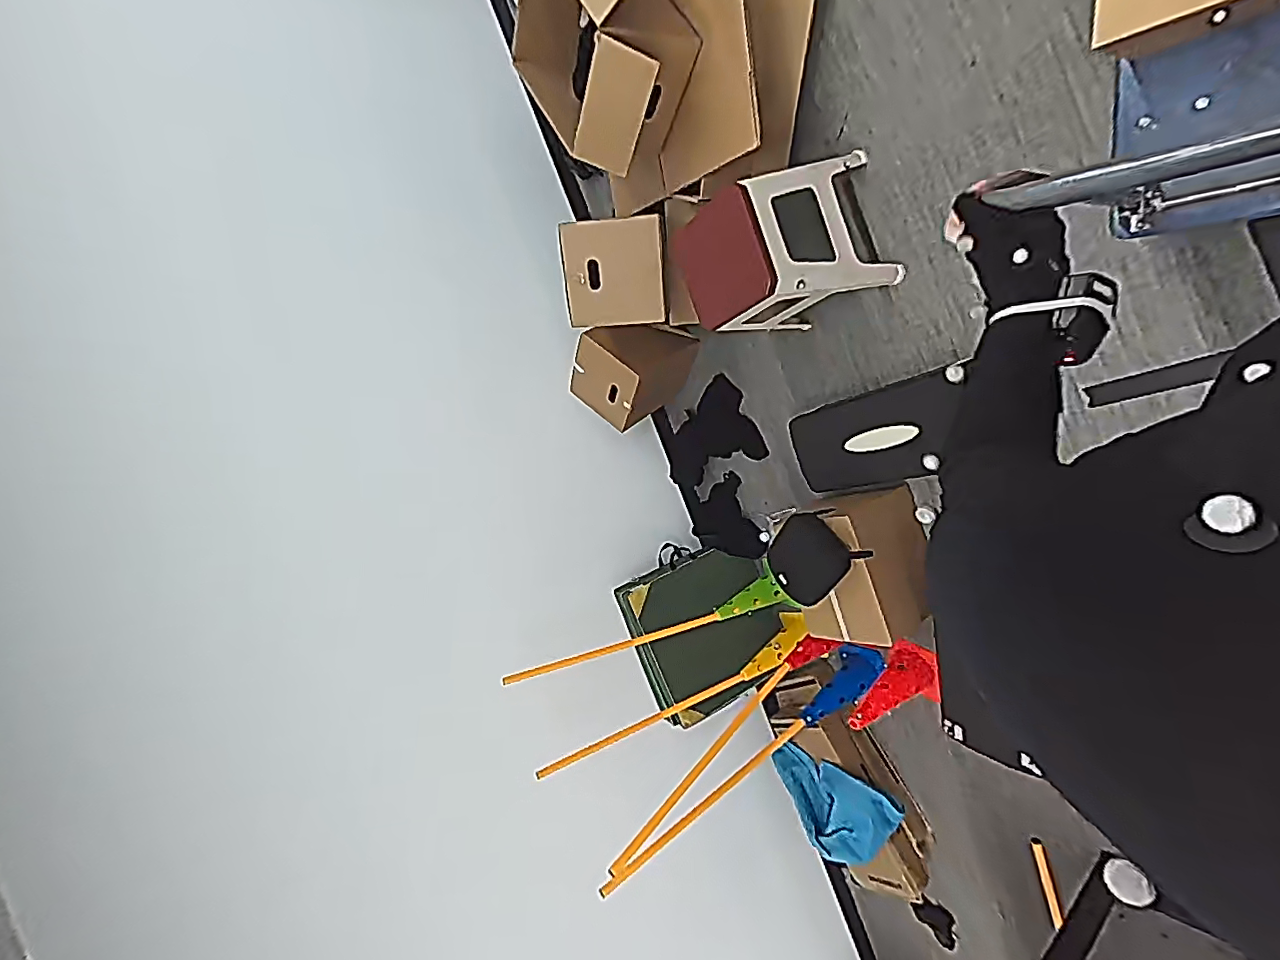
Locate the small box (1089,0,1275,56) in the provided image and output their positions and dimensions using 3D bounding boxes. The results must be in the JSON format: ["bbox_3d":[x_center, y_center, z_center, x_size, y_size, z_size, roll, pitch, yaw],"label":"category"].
[{"bbox_3d":[0.787,-0.741,0.772,0.179,0.176,0.168,16,121,52],"label":"small box"}]
